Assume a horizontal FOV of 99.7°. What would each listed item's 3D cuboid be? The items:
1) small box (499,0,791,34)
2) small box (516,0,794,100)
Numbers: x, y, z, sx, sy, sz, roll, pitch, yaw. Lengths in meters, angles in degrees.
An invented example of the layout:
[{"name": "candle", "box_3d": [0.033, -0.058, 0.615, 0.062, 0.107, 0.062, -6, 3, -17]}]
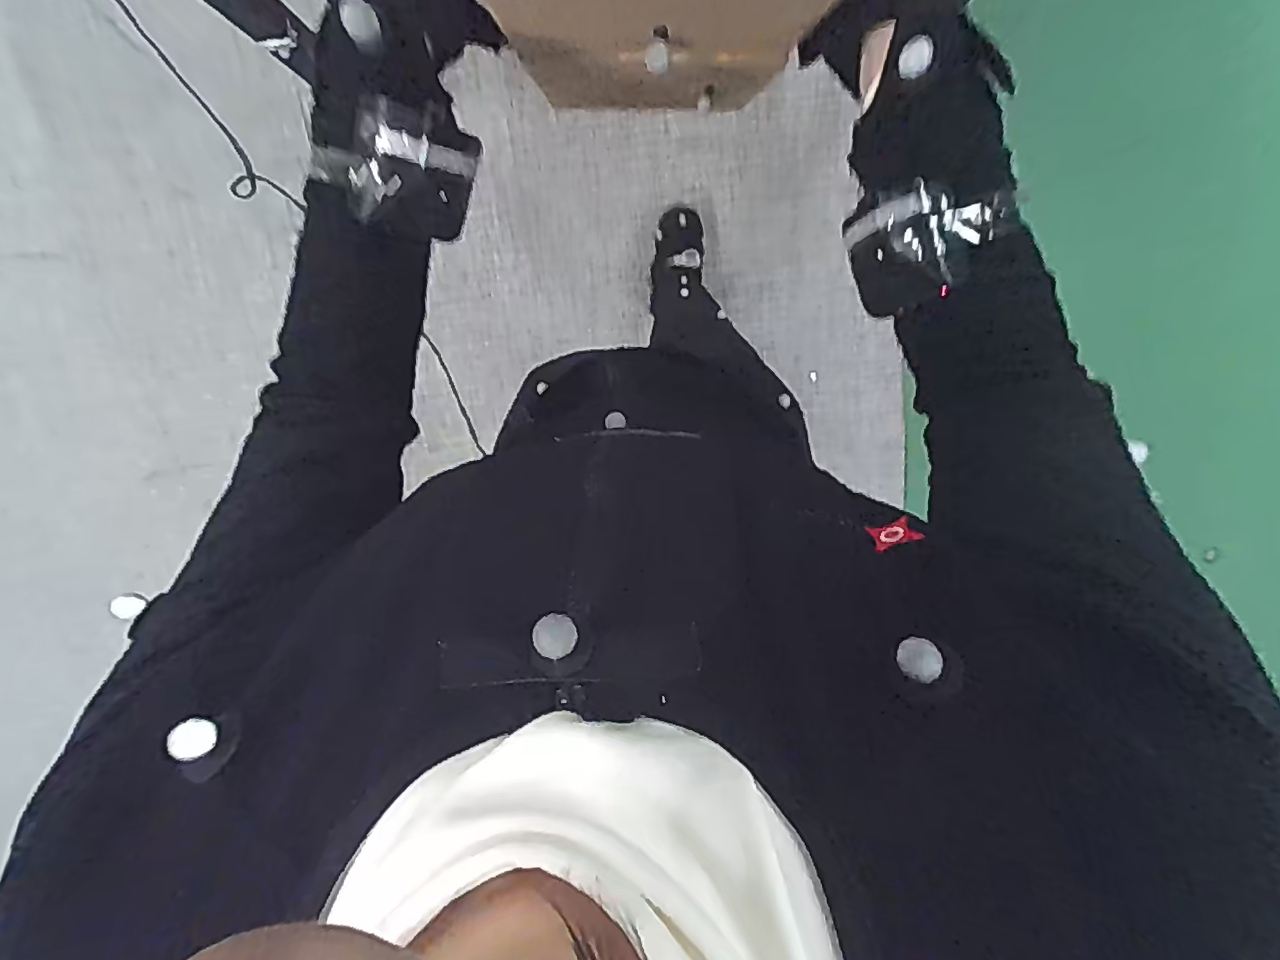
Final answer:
[{"name": "small box", "box_3d": [0.008, -0.320, 0.230, 0.179, 0.176, 0.168, -2, 114, -2]}, {"name": "small box", "box_3d": [0.007, -0.385, 0.381, 0.179, 0.176, 0.168, -1, 114, 1]}]
